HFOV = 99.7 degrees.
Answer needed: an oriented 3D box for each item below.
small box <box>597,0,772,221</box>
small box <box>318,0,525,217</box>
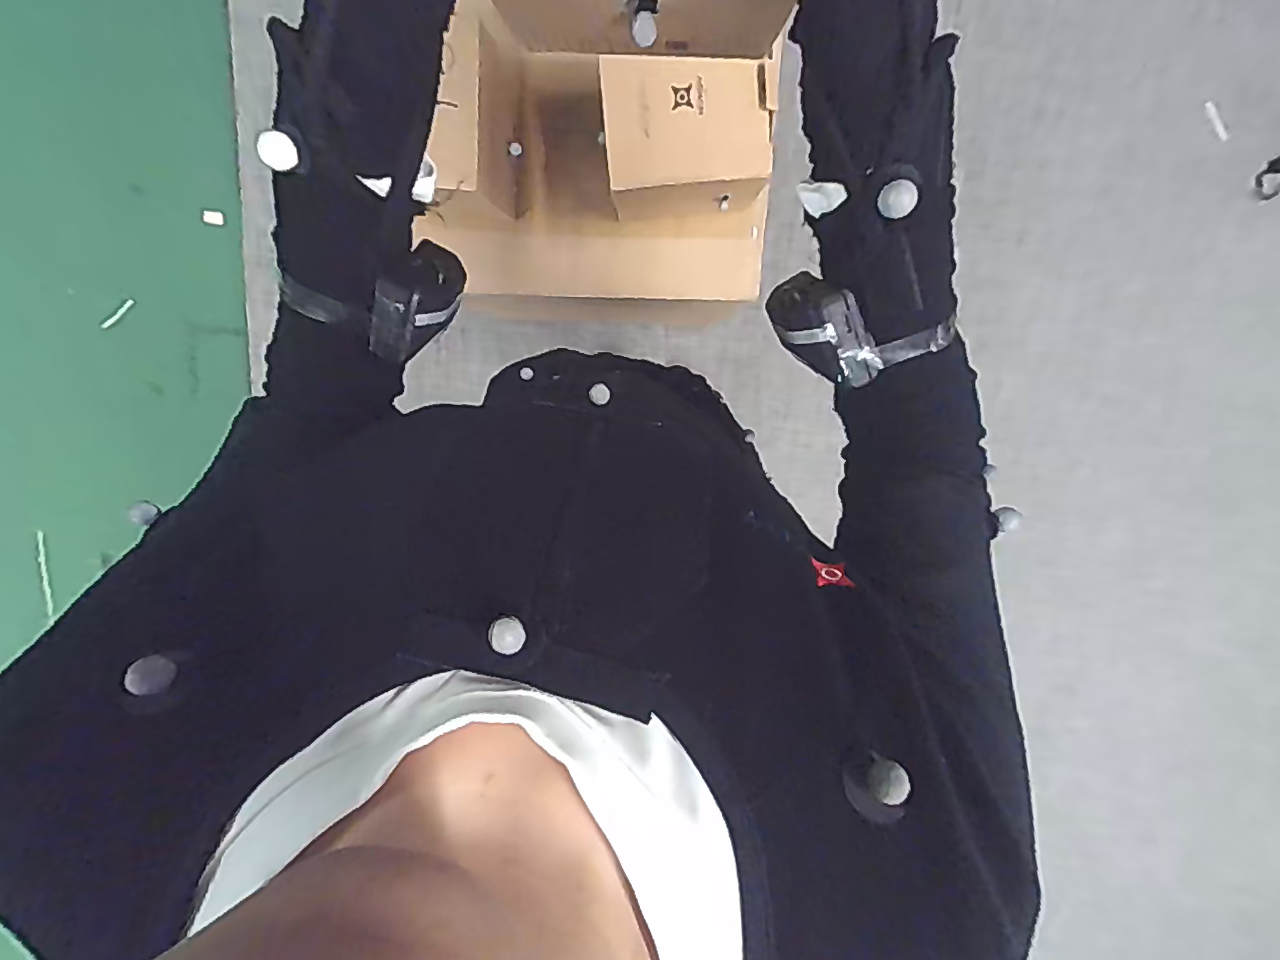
[{"bbox_3d":[0.052,-0.418,0.637,0.179,0.176,0.168,-4,104,5],"label":"small box"},{"bbox_3d":[-0.248,-0.425,0.647,0.179,0.176,0.168,6,106,1],"label":"small box"}]
